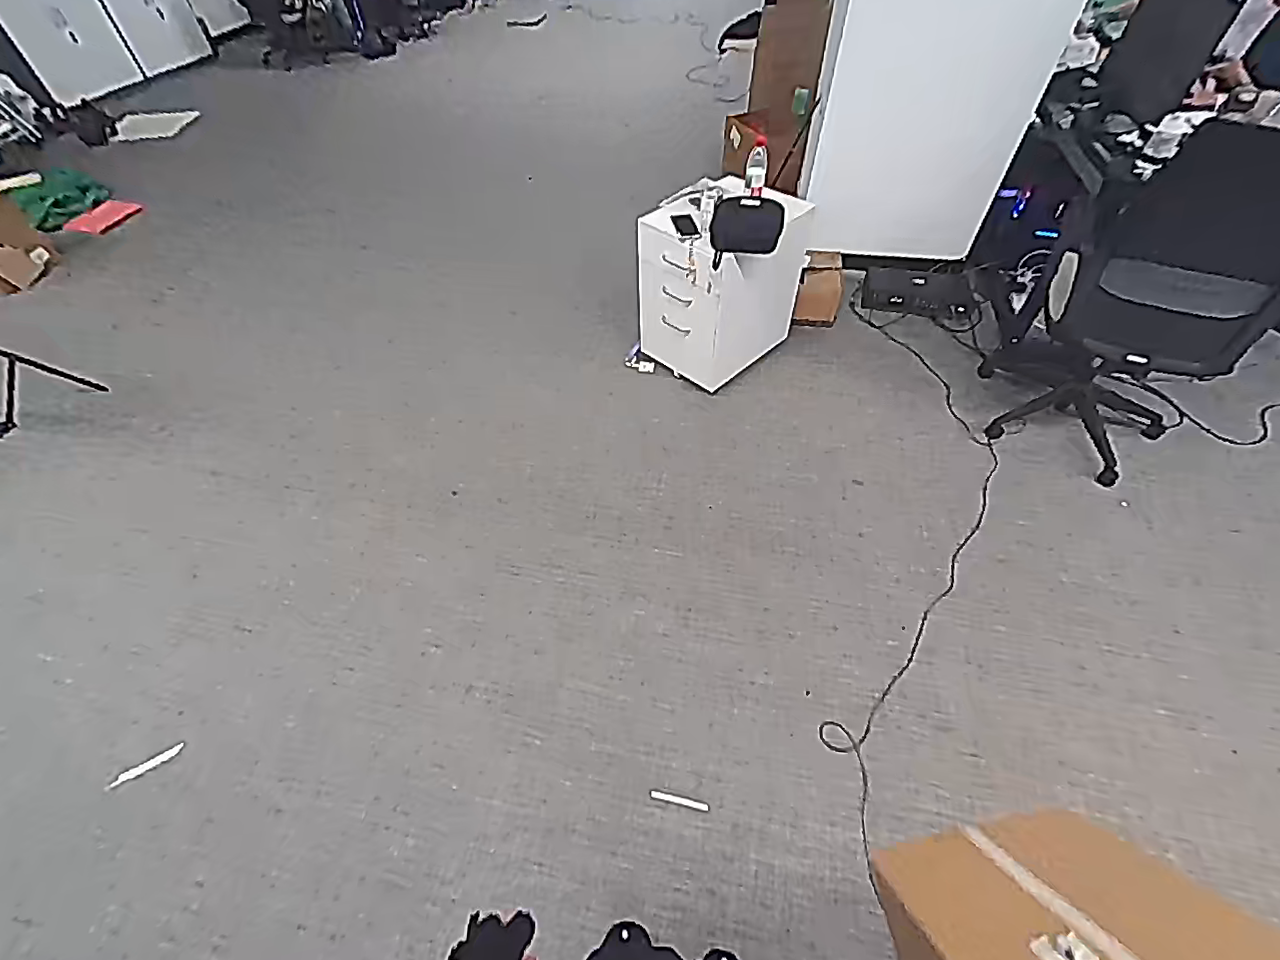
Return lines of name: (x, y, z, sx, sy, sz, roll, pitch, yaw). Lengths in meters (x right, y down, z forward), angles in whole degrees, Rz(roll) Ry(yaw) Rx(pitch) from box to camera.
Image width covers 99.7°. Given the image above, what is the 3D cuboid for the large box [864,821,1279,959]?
large box: (0.515, 0.665, 0.607, 0.320, 0.408, 0.320, -13, 80, -1)
